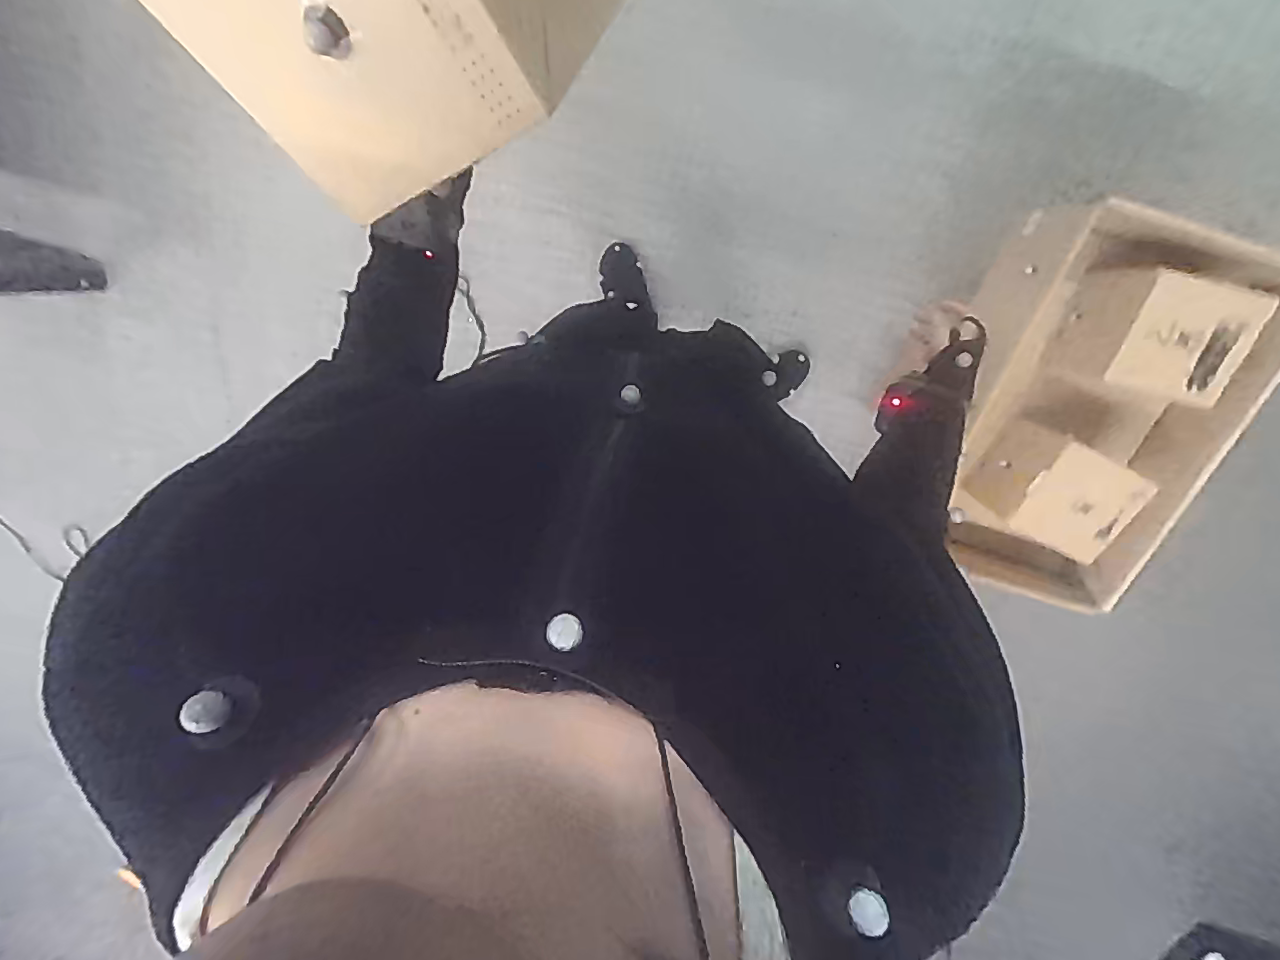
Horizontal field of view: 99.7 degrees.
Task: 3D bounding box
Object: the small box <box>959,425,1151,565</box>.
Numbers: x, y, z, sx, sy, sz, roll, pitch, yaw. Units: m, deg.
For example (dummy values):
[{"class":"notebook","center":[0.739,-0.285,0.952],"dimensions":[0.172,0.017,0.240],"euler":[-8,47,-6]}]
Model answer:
[{"class":"small box","center":[0.721,0.015,0.968],"dimensions":[0.179,0.176,0.168],"euler":[27,110,-6]}]
